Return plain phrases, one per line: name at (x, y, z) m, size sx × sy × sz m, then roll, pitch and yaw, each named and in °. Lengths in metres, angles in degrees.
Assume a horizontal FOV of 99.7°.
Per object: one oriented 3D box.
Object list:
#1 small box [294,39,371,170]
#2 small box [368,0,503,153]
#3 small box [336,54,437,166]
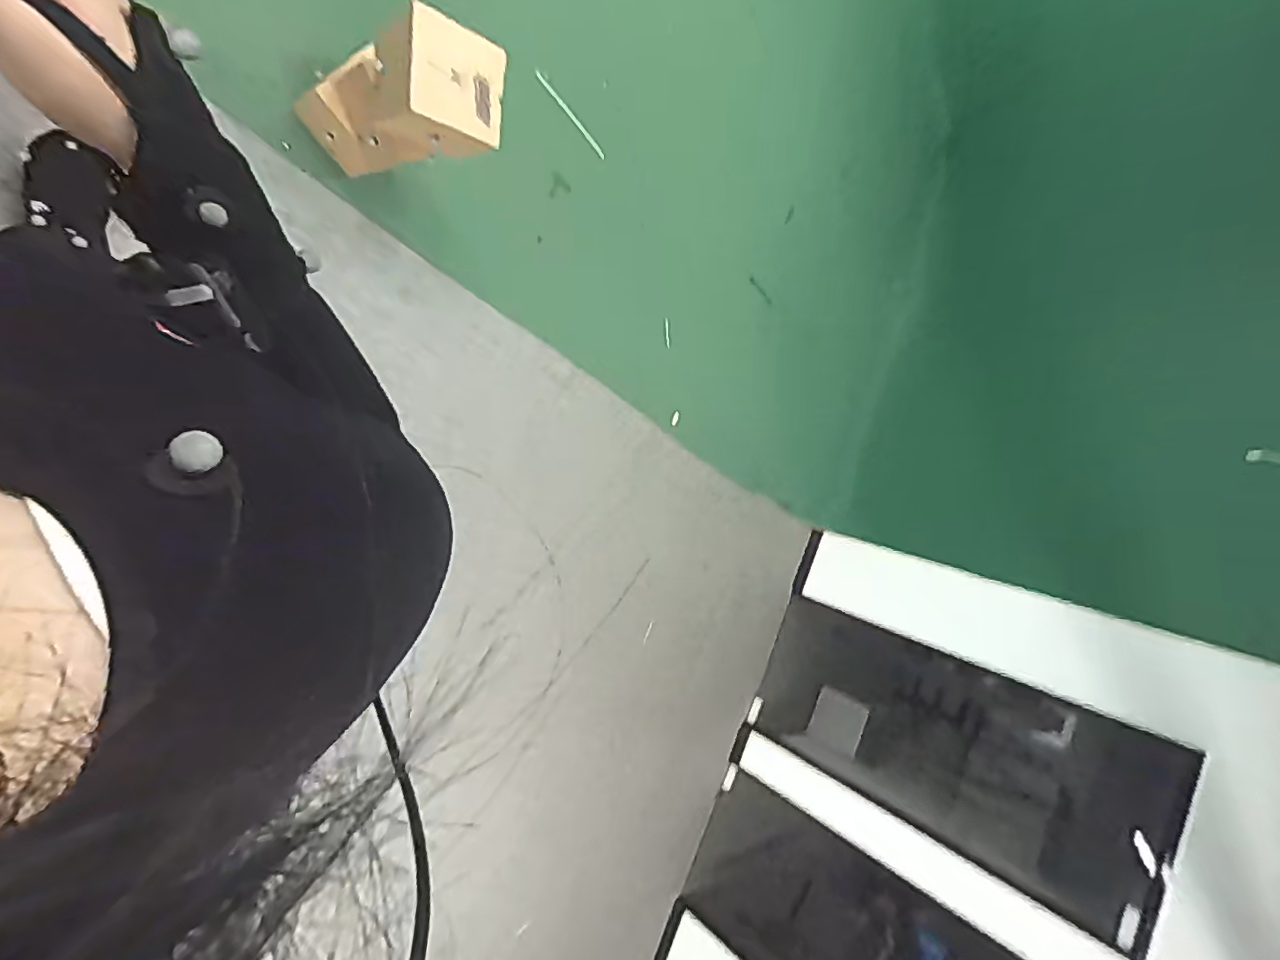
small box at (-0.629, -0.820, 1.200) m, size 0.179 × 0.176 × 0.168 m, roll -57°, pitch 138°, yaw -18°
small box at (-0.381, -0.731, 1.005) m, size 0.179 × 0.176 × 0.168 m, roll -6°, pitch 109°, yaw -46°
small box at (-0.495, -0.767, 1.118) m, size 0.179 × 0.176 × 0.168 m, roll -41°, pitch 132°, yaw -33°
